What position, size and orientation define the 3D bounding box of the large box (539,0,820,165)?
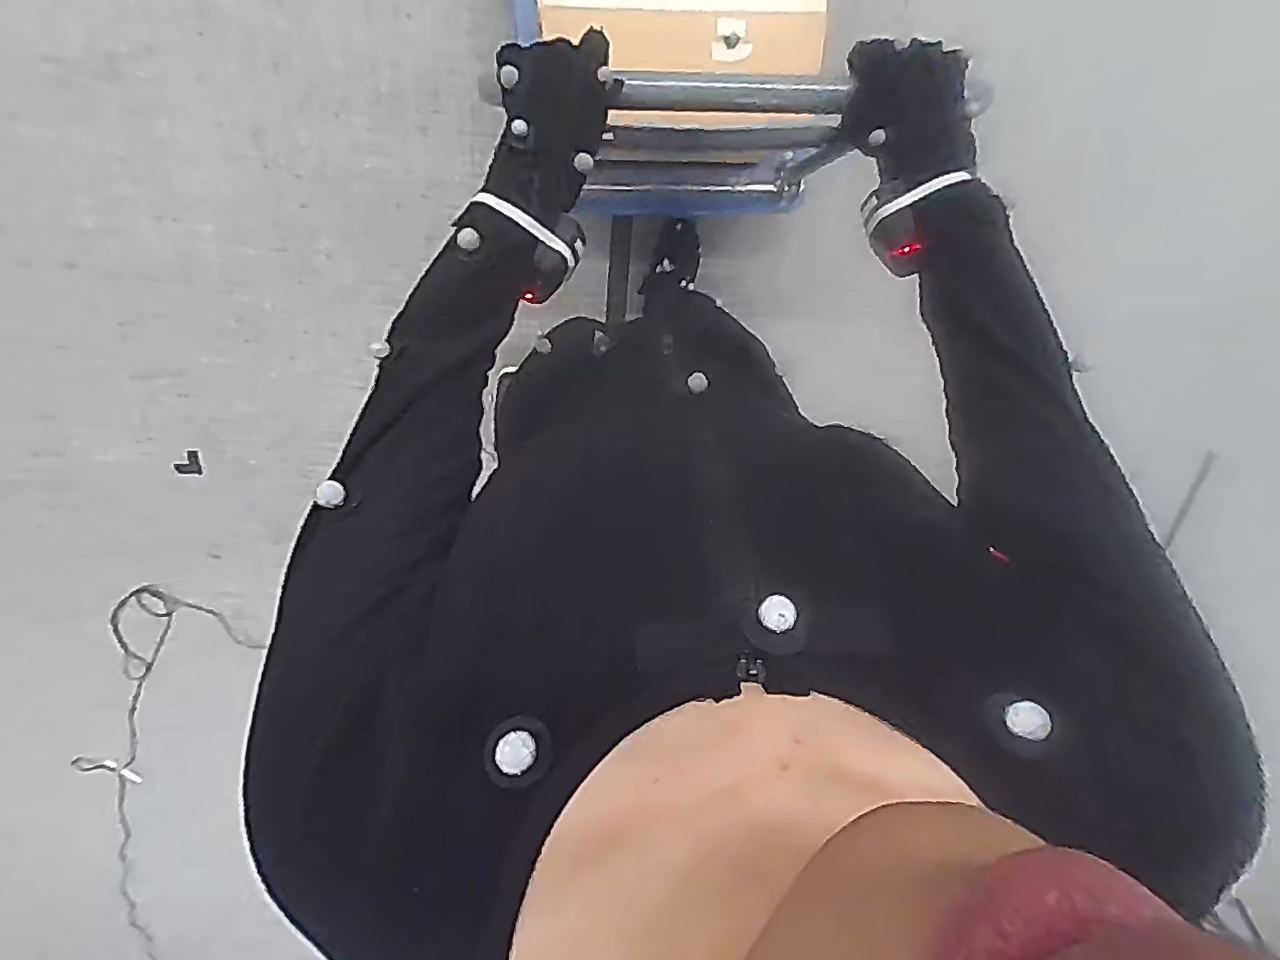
[{"bbox_3d":[0.045,-0.720,0.891,0.408,0.320,0.320,-2,114,-4],"label":"large box"}]
